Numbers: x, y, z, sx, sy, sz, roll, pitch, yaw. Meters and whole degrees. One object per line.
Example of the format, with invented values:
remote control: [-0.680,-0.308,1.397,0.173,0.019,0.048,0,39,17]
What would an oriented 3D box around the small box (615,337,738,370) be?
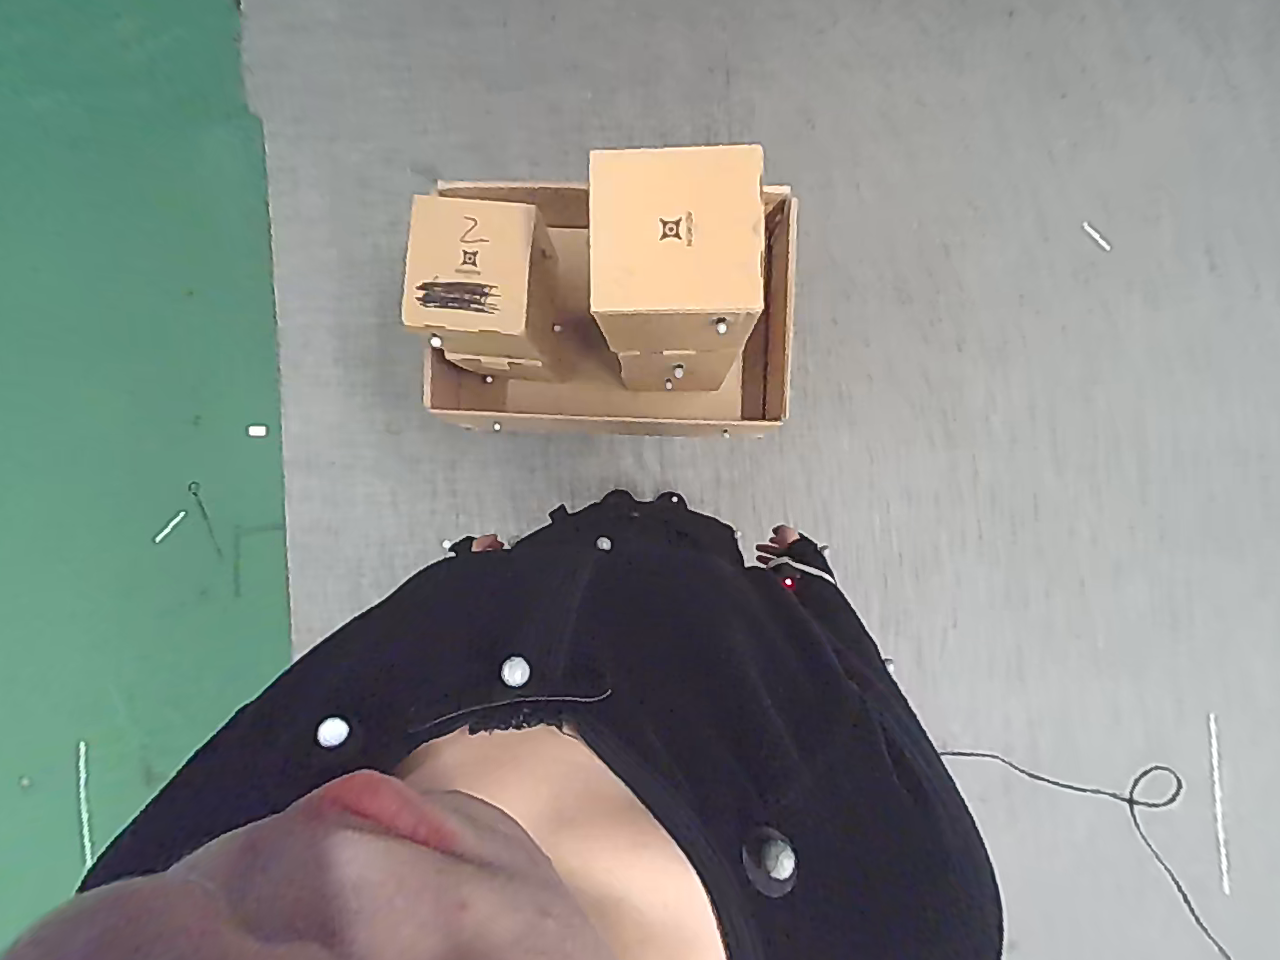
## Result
small box: [0.052,-0.258,0.787,0.168,0.176,0.179,-1,92,2]

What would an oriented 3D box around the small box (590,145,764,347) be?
small box: [0.041,-0.254,0.623,0.179,0.176,0.168,0,91,2]
